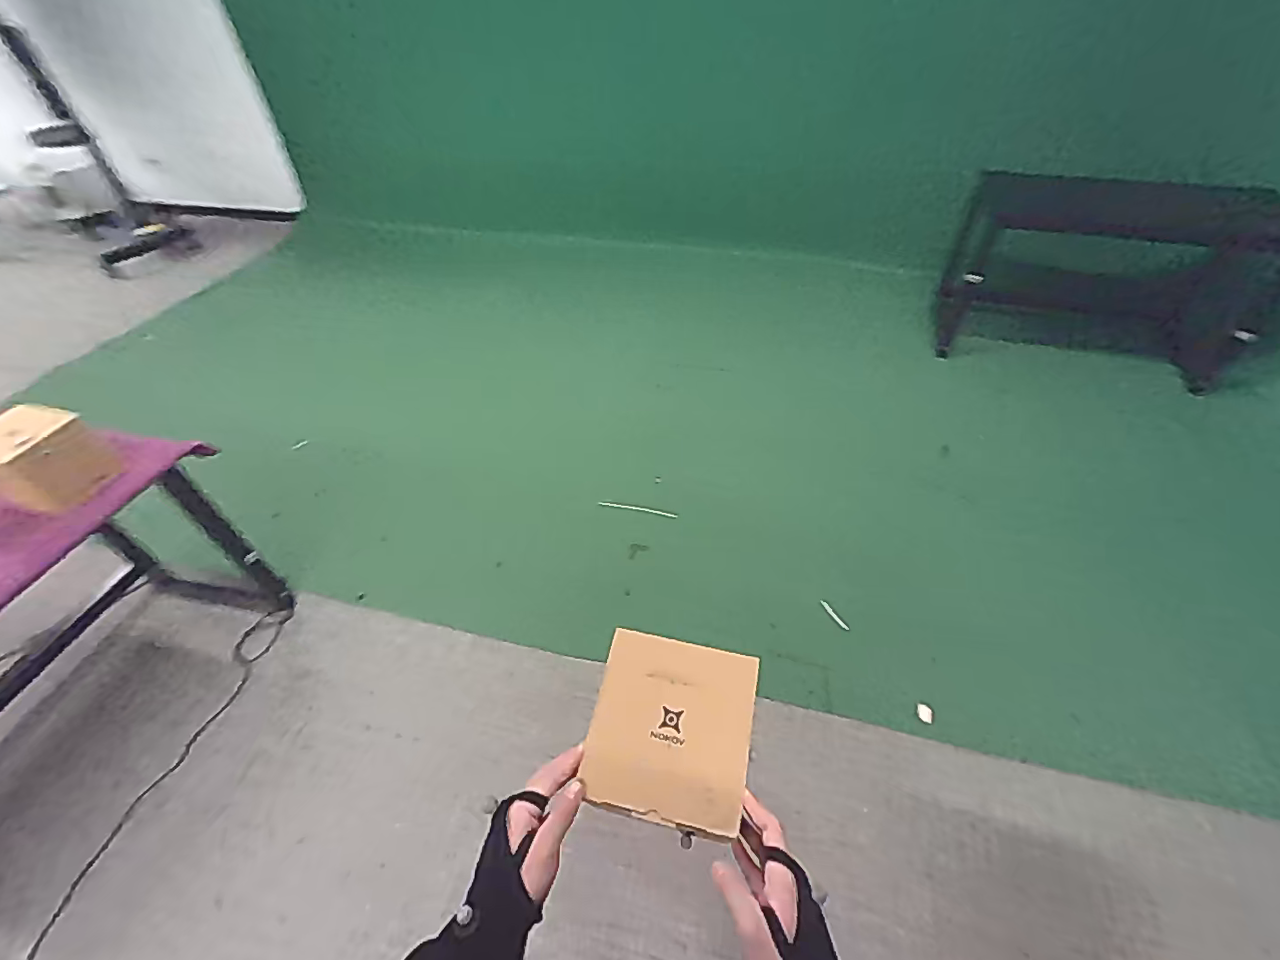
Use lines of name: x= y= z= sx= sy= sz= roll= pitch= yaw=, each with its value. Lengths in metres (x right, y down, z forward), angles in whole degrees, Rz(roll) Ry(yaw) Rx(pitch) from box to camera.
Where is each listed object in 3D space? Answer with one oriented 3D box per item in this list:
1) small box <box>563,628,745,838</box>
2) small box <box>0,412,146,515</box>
small box: x=0.025 y=0.300 z=0.638 sx=0.168 sy=0.176 sz=0.179 roll=9 pitch=58 yaw=10
small box: x=-1.347 y=-0.037 z=1.272 sx=0.179 sy=0.176 sz=0.168 roll=9 pitch=49 yaw=12
